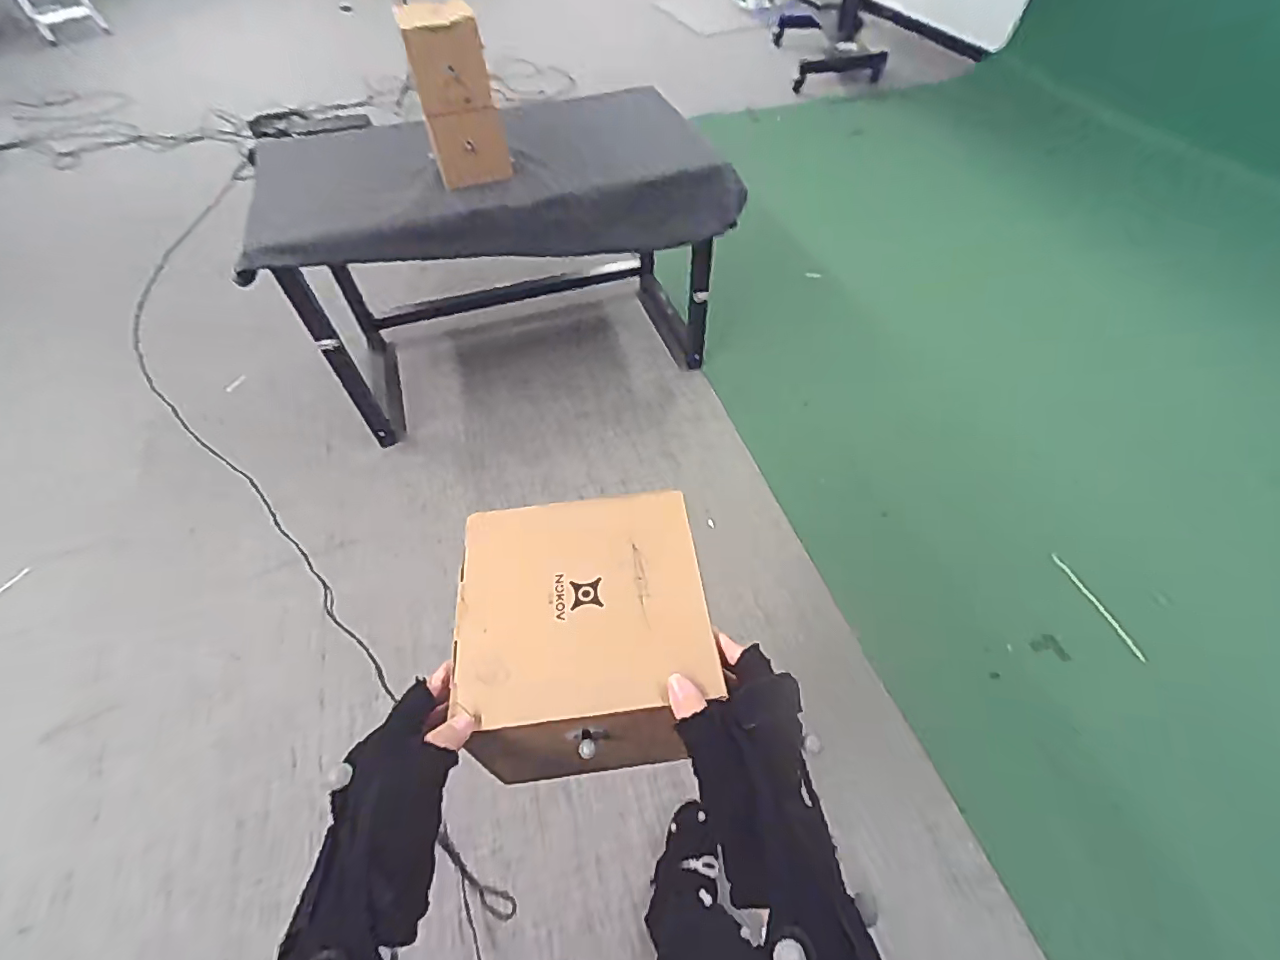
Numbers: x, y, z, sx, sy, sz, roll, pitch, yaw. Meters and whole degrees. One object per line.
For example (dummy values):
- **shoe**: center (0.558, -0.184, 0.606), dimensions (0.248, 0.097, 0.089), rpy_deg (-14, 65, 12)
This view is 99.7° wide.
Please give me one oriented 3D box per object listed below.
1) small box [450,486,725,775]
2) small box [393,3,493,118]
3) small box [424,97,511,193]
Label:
- **small box**: center (-0.040, 0.128, 0.445), dimensions (0.179, 0.176, 0.168), rpy_deg (-7, 52, -5)
- **small box**: center (-0.451, -0.964, 1.252), dimensions (0.168, 0.176, 0.179), rpy_deg (-17, 55, -11)
- **small box**: center (-0.438, -0.864, 1.380), dimensions (0.179, 0.176, 0.168), rpy_deg (-19, 55, -14)
